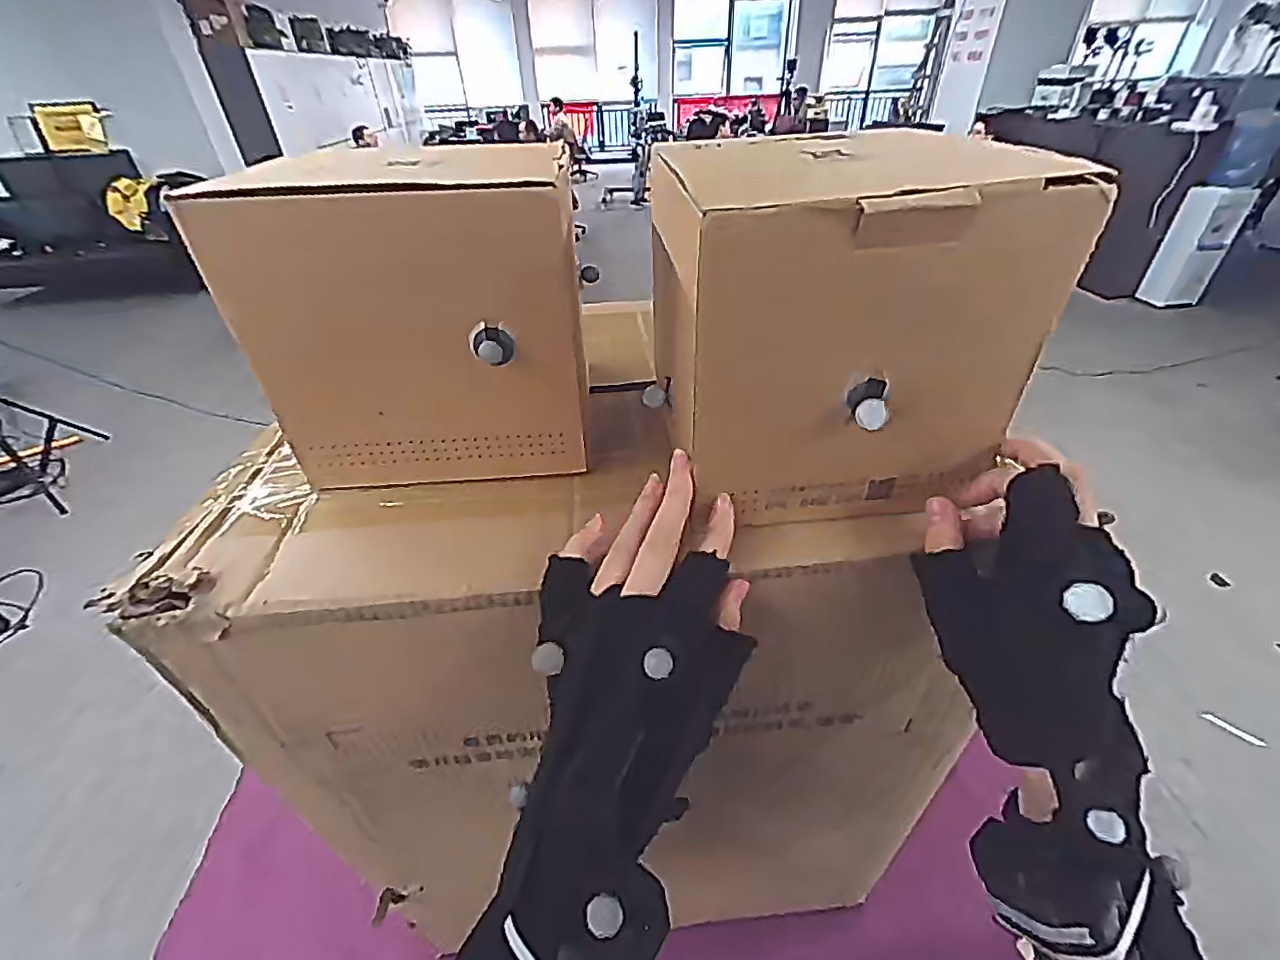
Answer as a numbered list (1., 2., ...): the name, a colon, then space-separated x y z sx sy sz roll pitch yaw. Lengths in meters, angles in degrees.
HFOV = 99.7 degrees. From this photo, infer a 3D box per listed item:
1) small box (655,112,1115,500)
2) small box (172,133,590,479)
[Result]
1. small box: 0.101 -0.100 0.318 0.168 0.176 0.179 -5 39 -2
2. small box: -0.124 -0.116 0.351 0.179 0.176 0.168 -5 37 -3
